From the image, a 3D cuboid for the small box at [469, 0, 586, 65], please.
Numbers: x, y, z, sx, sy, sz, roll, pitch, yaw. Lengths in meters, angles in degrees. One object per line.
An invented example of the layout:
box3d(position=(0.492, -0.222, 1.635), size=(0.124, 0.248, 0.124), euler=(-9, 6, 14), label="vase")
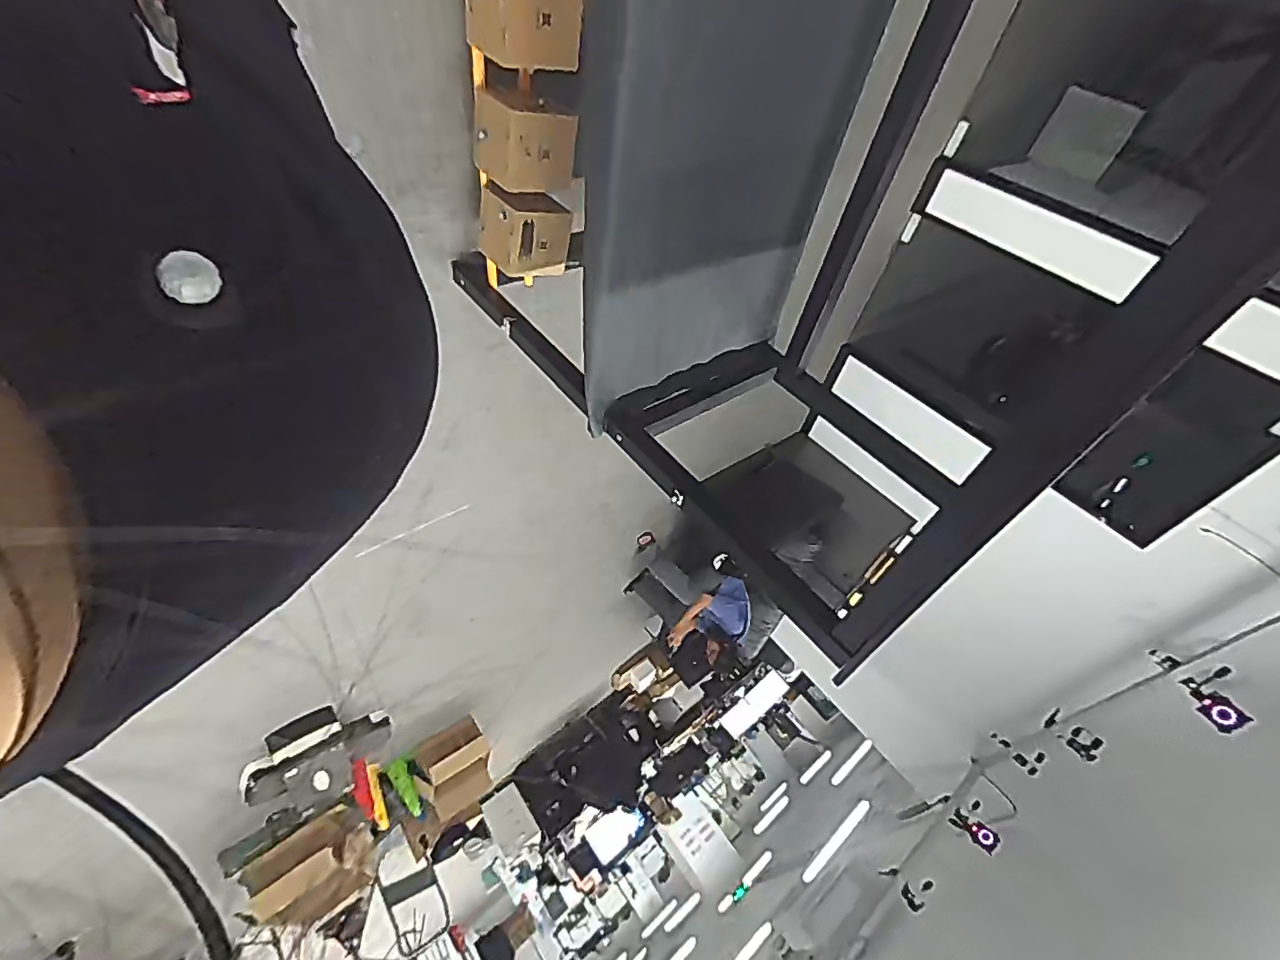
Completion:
box3d(position=(-0.228, -0.968, 1.091), size=(0.179, 0.176, 0.168), euler=(-23, 148, -30), label="small box")
